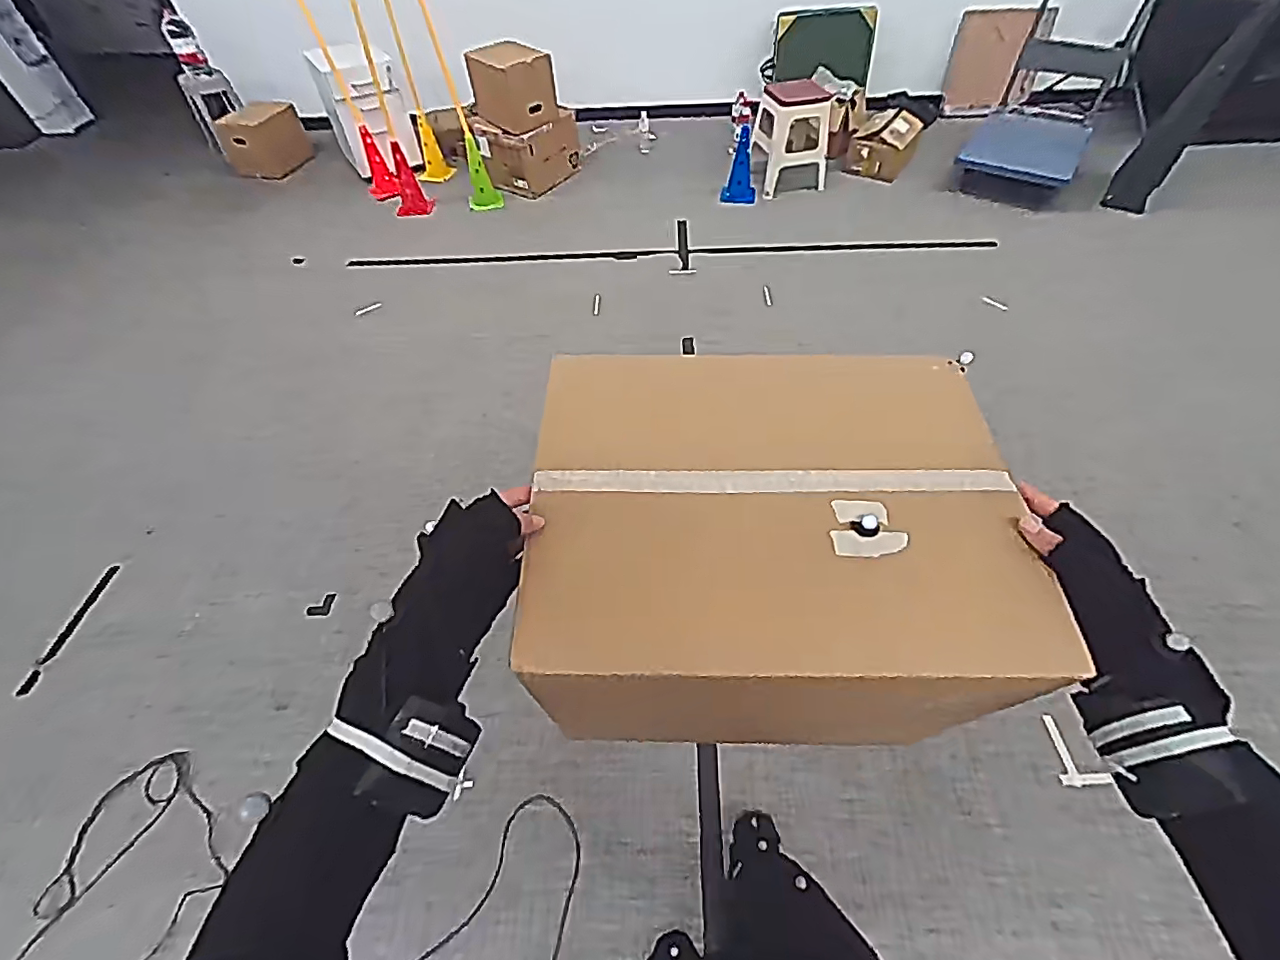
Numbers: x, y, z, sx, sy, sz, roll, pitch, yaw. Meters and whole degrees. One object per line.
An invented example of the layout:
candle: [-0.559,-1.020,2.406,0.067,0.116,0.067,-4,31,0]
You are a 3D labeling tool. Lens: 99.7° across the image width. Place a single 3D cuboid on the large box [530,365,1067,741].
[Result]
large box: [0.114,0.092,0.598,0.408,0.320,0.320,0,56,0]
